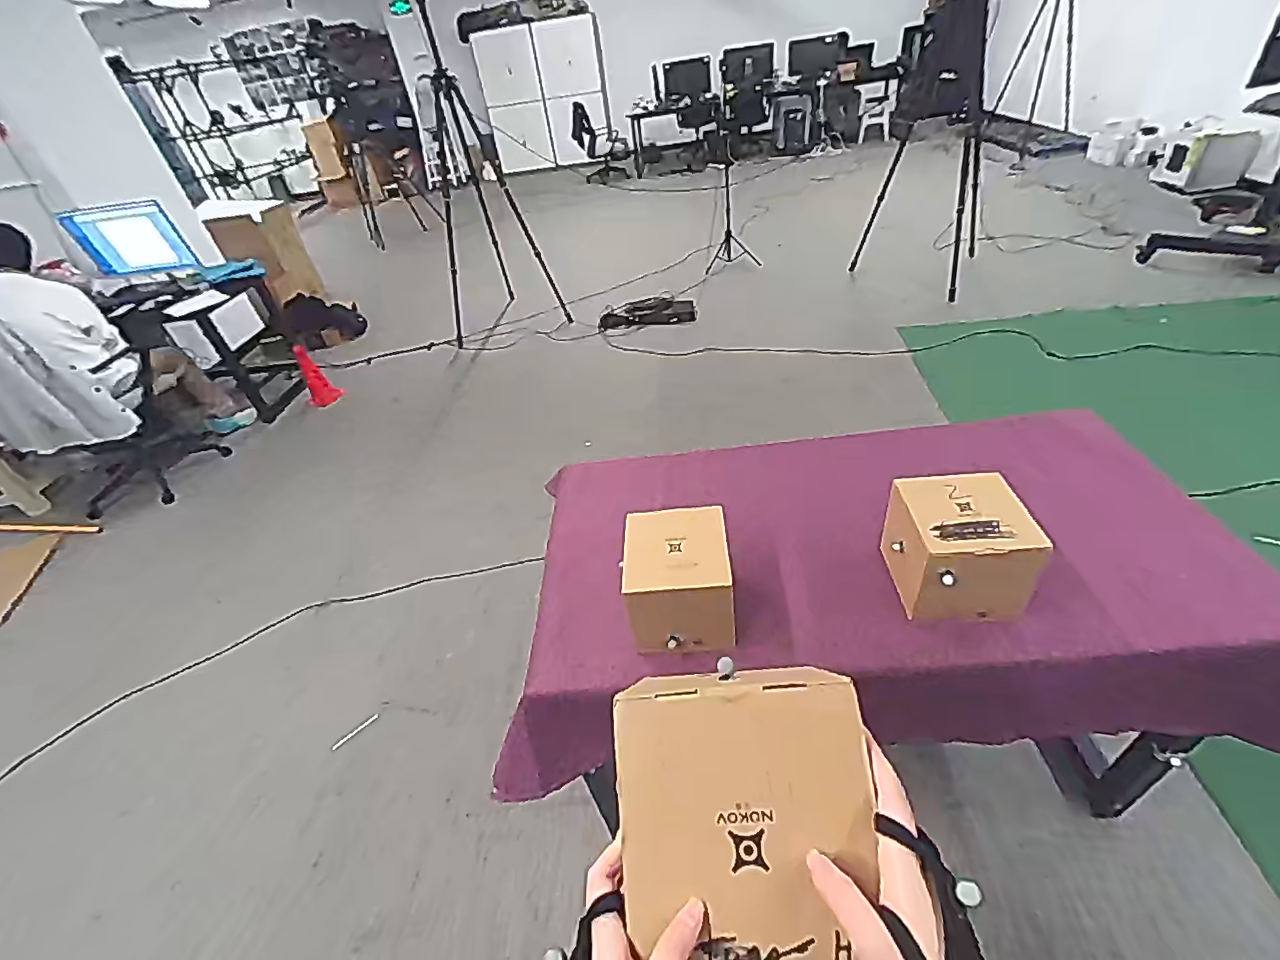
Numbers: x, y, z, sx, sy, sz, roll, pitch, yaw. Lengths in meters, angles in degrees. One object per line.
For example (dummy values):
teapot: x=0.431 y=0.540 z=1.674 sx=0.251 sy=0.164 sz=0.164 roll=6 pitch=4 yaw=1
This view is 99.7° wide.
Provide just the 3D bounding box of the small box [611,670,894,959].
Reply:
small box: x=0.076 y=0.246 z=0.424 sx=0.168 sy=0.176 sz=0.179 roll=-7 pitch=72 yaw=7

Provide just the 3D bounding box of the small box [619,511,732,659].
small box: x=0.063 y=0.176 z=0.907 sx=0.168 sy=0.176 sz=0.179 roll=-6 pitch=39 yaw=7
